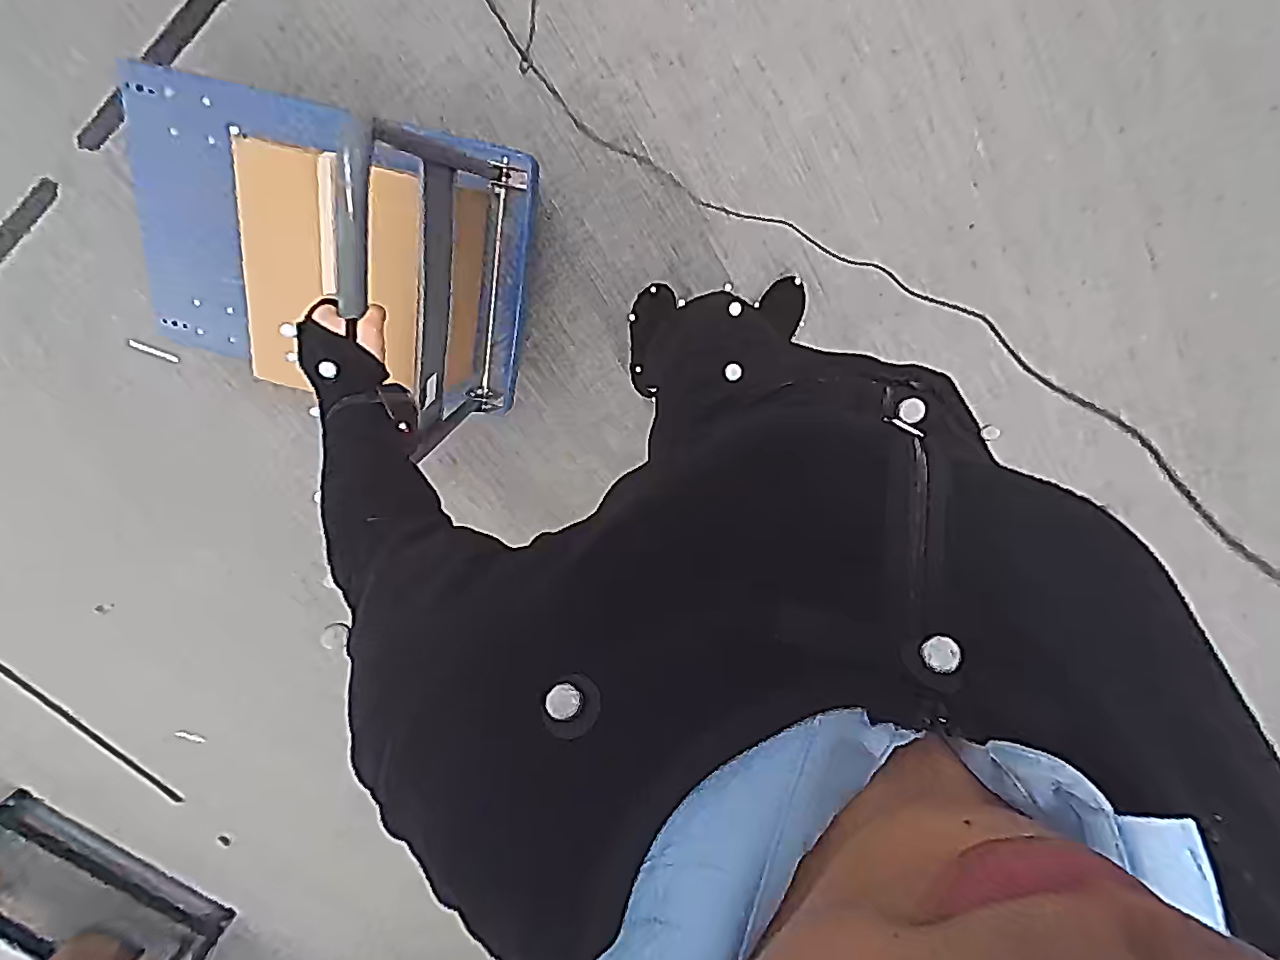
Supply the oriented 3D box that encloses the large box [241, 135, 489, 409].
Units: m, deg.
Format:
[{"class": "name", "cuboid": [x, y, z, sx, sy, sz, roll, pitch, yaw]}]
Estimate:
[{"class": "large box", "cuboid": [-0.512, -0.398, 1.075, 0.320, 0.320, 0.408, 13, 114, -1]}]
